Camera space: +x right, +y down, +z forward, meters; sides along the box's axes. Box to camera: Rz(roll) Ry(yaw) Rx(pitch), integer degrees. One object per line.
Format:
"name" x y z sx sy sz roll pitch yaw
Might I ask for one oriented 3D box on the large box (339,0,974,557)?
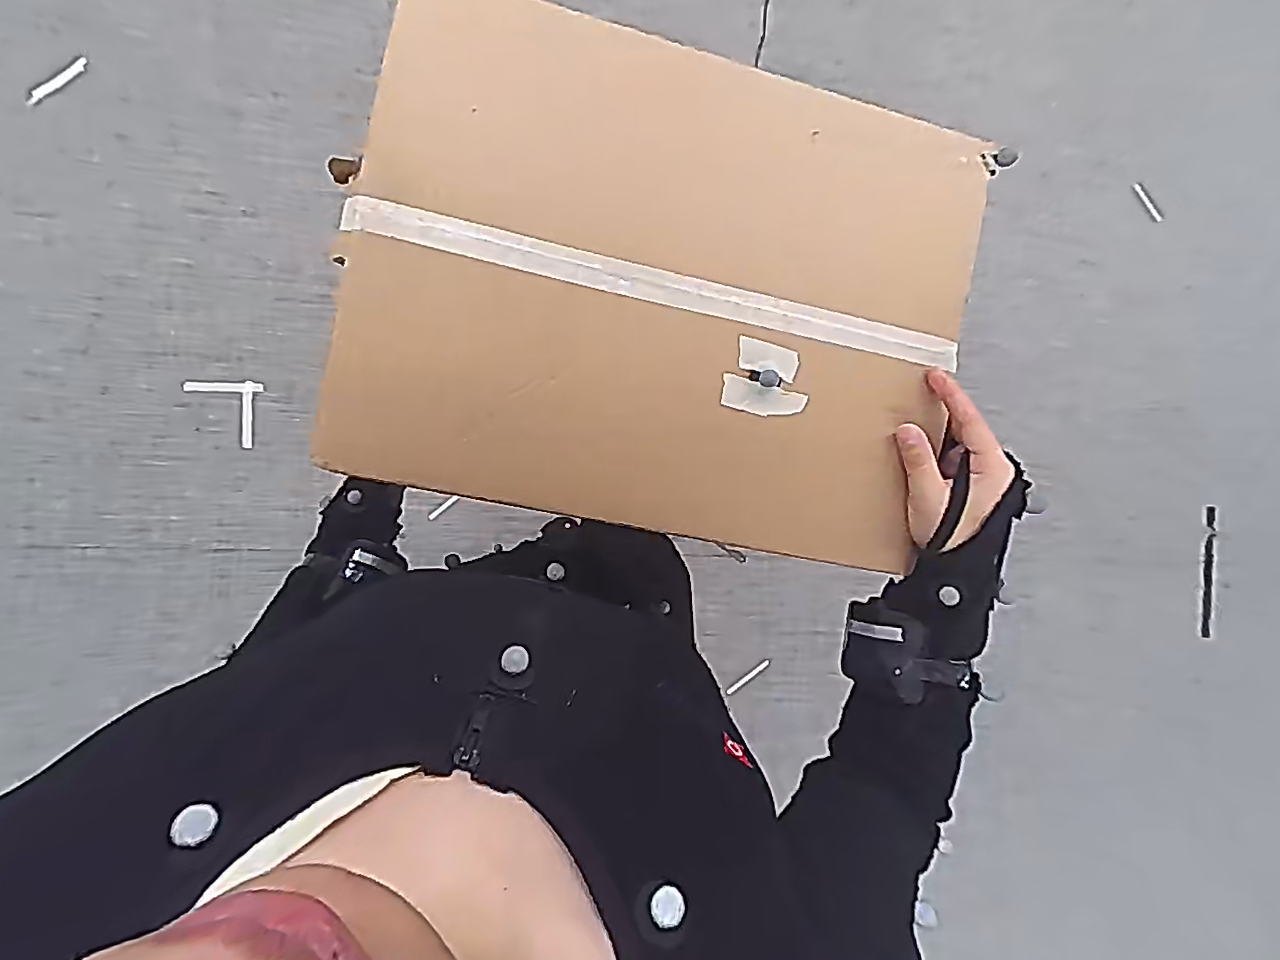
"large box" 0.004 -0.129 0.512 0.408 0.320 0.320 11 91 -9
